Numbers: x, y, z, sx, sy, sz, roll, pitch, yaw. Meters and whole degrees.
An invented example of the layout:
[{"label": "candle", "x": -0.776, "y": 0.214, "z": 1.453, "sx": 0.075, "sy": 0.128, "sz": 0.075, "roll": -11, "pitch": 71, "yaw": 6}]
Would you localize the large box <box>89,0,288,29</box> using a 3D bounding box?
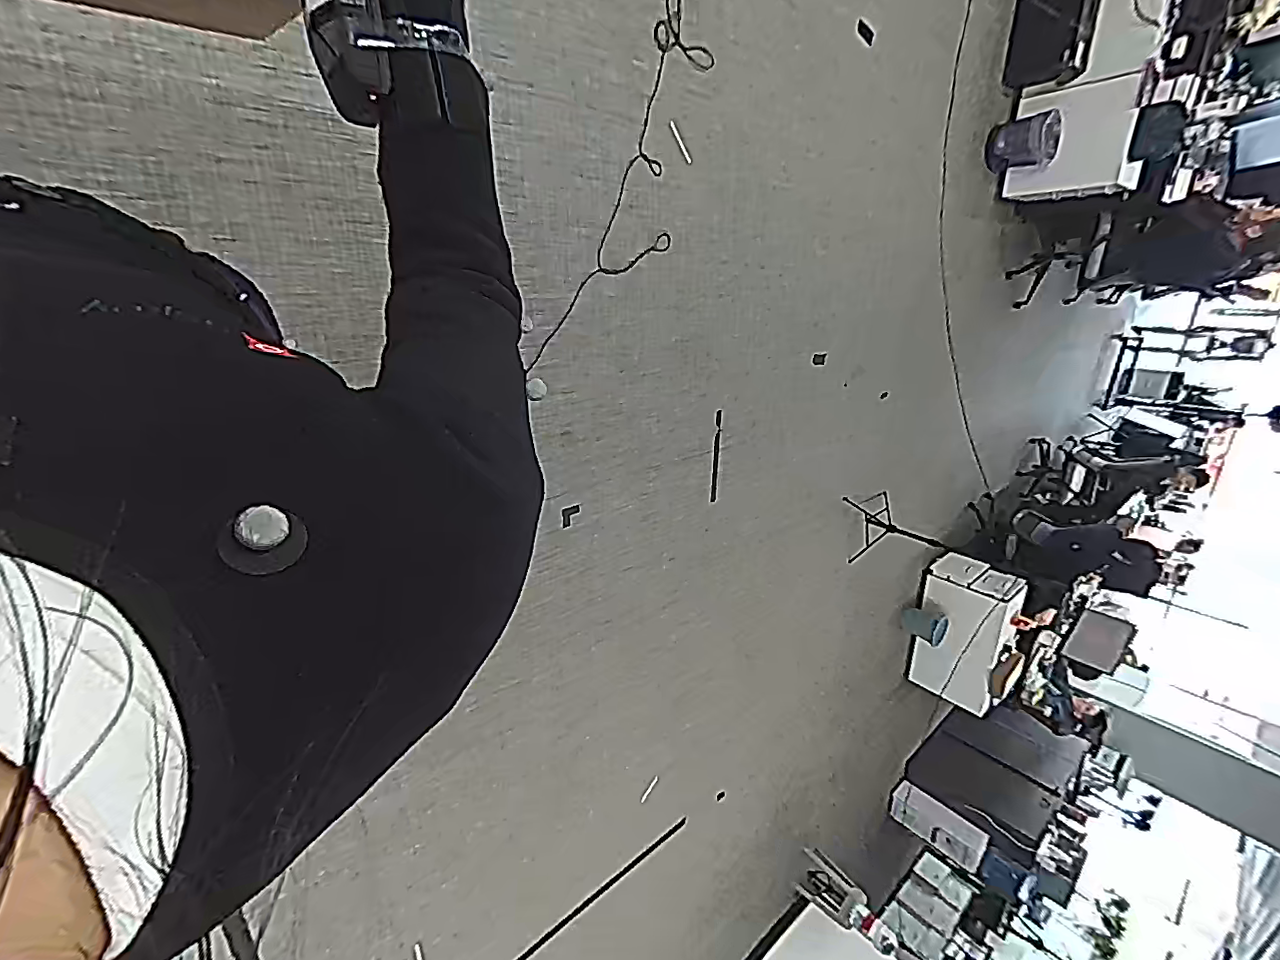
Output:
[{"label": "large box", "x": -0.421, "y": -0.451, "z": 0.238, "sx": 0.408, "sy": 0.320, "sz": 0.320, "roll": -17, "pitch": 128, "yaw": -35}]
